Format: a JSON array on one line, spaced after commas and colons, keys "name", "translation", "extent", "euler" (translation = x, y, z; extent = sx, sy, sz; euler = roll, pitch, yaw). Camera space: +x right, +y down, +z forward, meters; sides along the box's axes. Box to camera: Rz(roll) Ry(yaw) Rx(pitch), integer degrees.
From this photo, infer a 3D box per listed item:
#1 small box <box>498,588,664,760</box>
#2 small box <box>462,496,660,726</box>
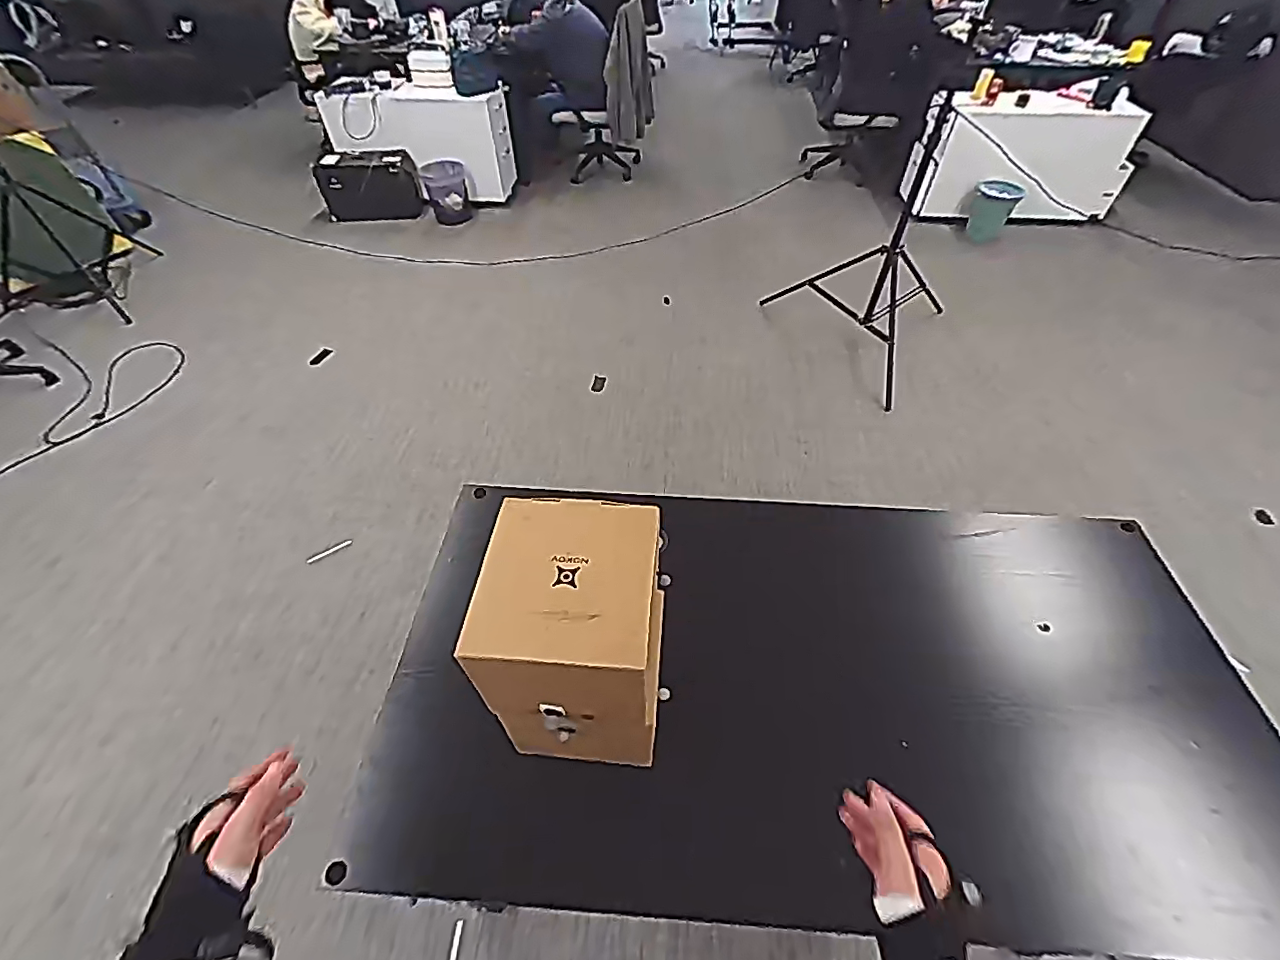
[{"name": "small box", "translation": [-0.064, 0.246, 0.697], "extent": [0.179, 0.176, 0.168], "euler": [5, 49, 3]}, {"name": "small box", "translation": [-0.066, 0.139, 0.574], "extent": [0.168, 0.176, 0.179], "euler": [2, 50, 4]}]
